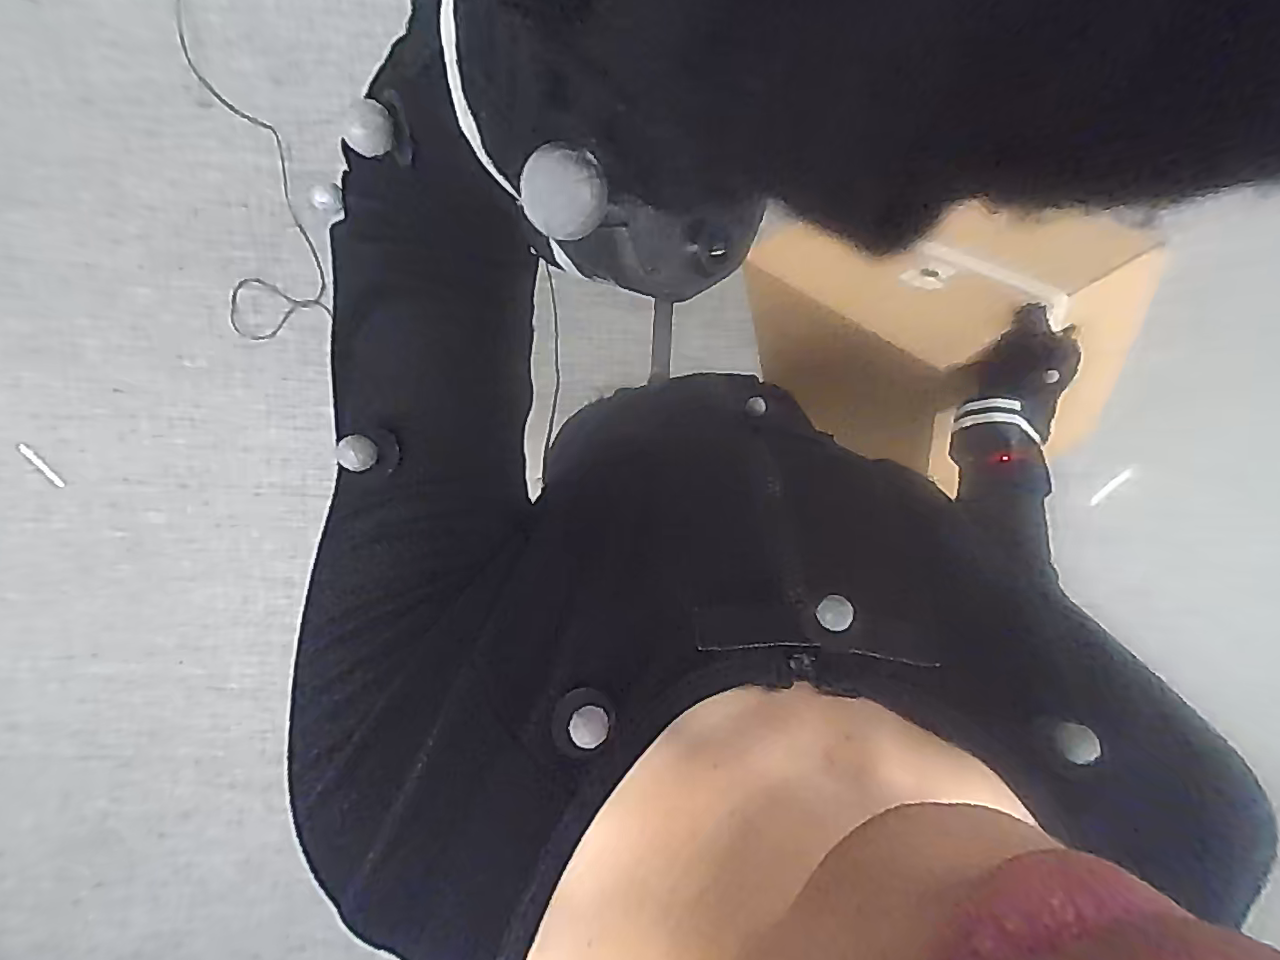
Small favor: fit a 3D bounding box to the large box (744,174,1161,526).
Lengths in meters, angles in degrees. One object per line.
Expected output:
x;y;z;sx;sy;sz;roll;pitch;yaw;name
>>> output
0.412;-0.211;0.831;0.320;0.408;0.320;-29;136;-4;large box
